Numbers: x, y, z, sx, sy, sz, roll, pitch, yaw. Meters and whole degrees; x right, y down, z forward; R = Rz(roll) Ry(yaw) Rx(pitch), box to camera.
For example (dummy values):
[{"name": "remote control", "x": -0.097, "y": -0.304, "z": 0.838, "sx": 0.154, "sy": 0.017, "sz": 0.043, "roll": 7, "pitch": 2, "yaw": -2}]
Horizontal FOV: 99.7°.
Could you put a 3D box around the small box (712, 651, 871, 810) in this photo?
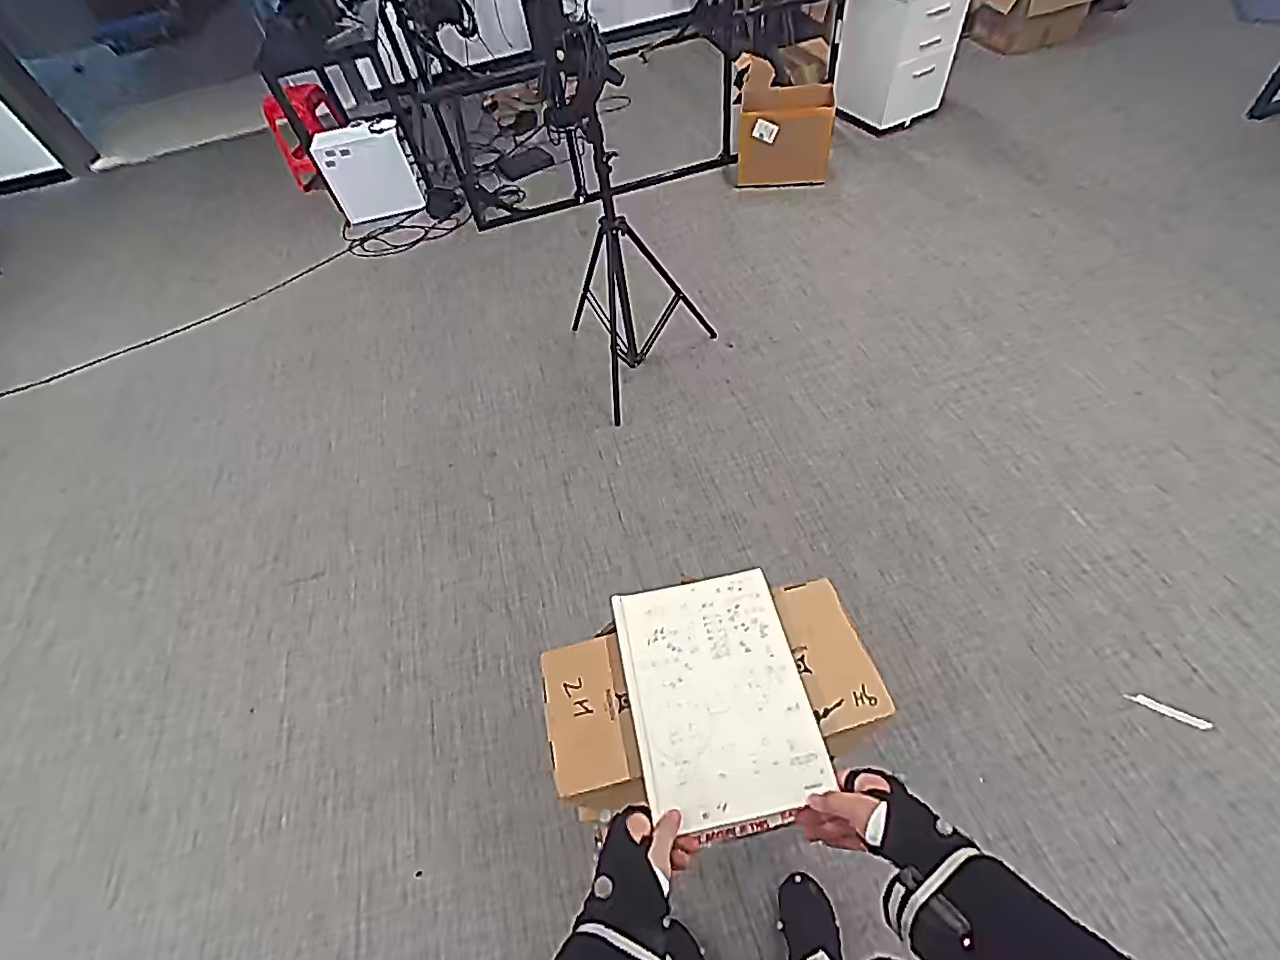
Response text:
[{"name": "small box", "x": 0.219, "y": 0.391, "z": 0.836, "sx": 0.179, "sy": 0.176, "sz": 0.168, "roll": -17, "pitch": 55, "yaw": -5}]

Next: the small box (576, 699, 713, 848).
[{"name": "small box", "x": 0.010, "y": 0.448, "z": 0.824, "sx": 0.179, "sy": 0.176, "sz": 0.168, "roll": -11, "pitch": 55, "yaw": 2}]
